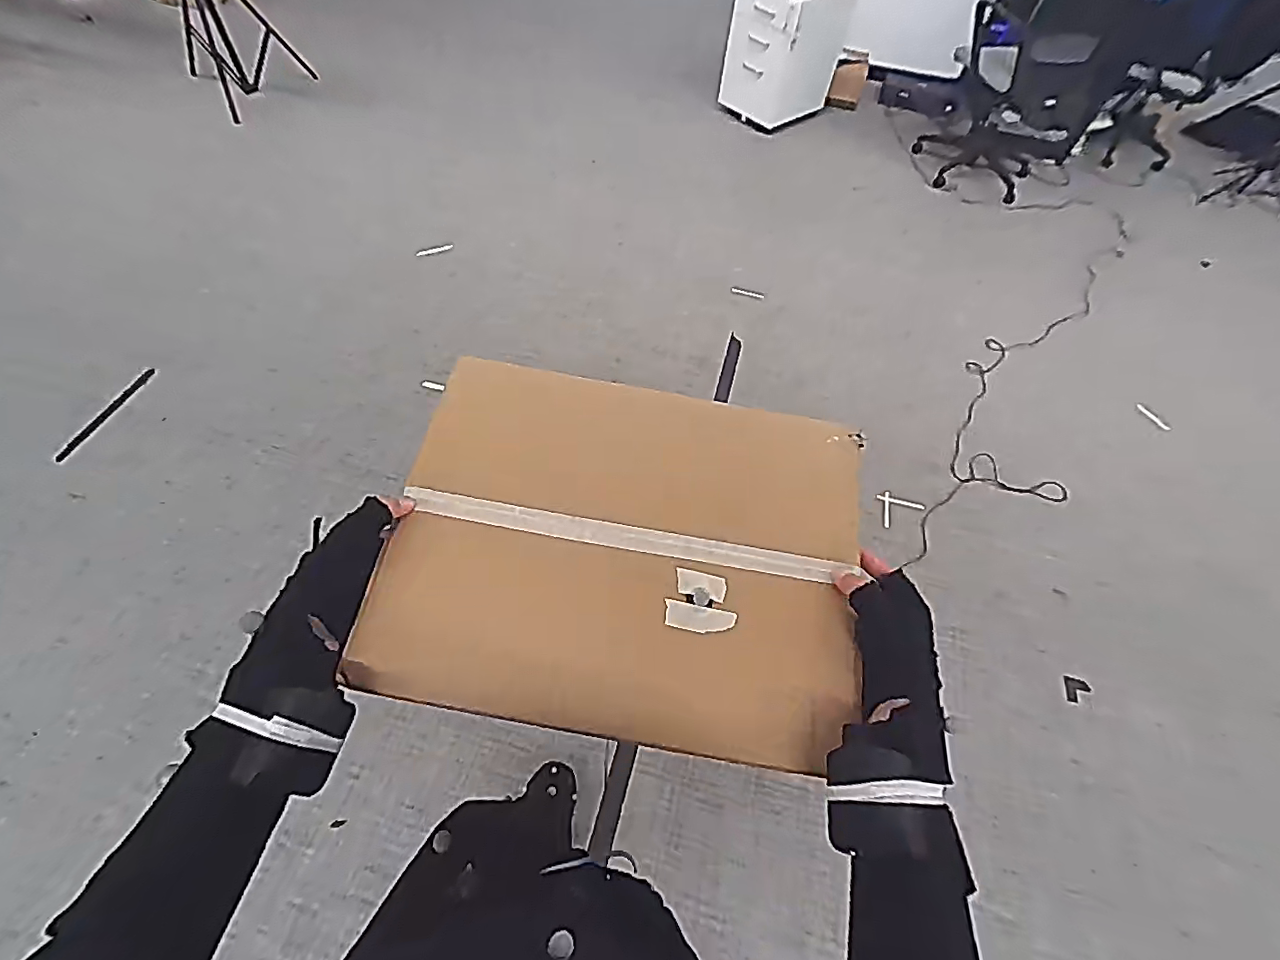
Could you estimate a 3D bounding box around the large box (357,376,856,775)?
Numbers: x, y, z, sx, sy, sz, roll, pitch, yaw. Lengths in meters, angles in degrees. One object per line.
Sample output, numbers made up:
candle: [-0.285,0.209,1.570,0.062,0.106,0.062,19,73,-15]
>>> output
large box: [-0.017,0.124,0.616,0.408,0.320,0.320,11,66,0]
